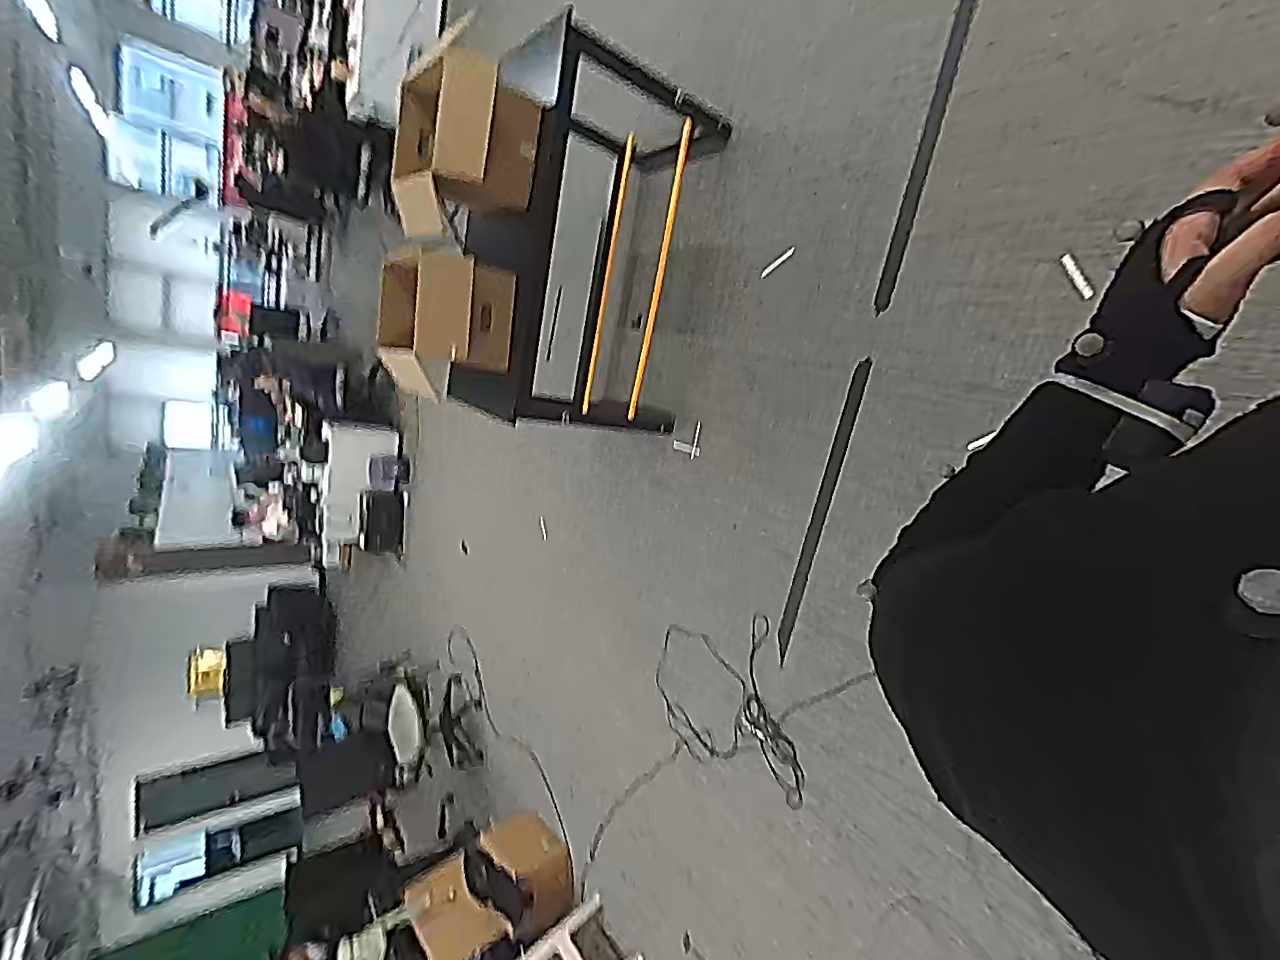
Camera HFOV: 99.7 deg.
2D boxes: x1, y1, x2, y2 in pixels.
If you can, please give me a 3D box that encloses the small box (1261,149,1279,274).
[{"bbox_3d":[0.514,-0.223,0.319,0.179,0.176,0.168,10,107,47],"label":"small box"}]
